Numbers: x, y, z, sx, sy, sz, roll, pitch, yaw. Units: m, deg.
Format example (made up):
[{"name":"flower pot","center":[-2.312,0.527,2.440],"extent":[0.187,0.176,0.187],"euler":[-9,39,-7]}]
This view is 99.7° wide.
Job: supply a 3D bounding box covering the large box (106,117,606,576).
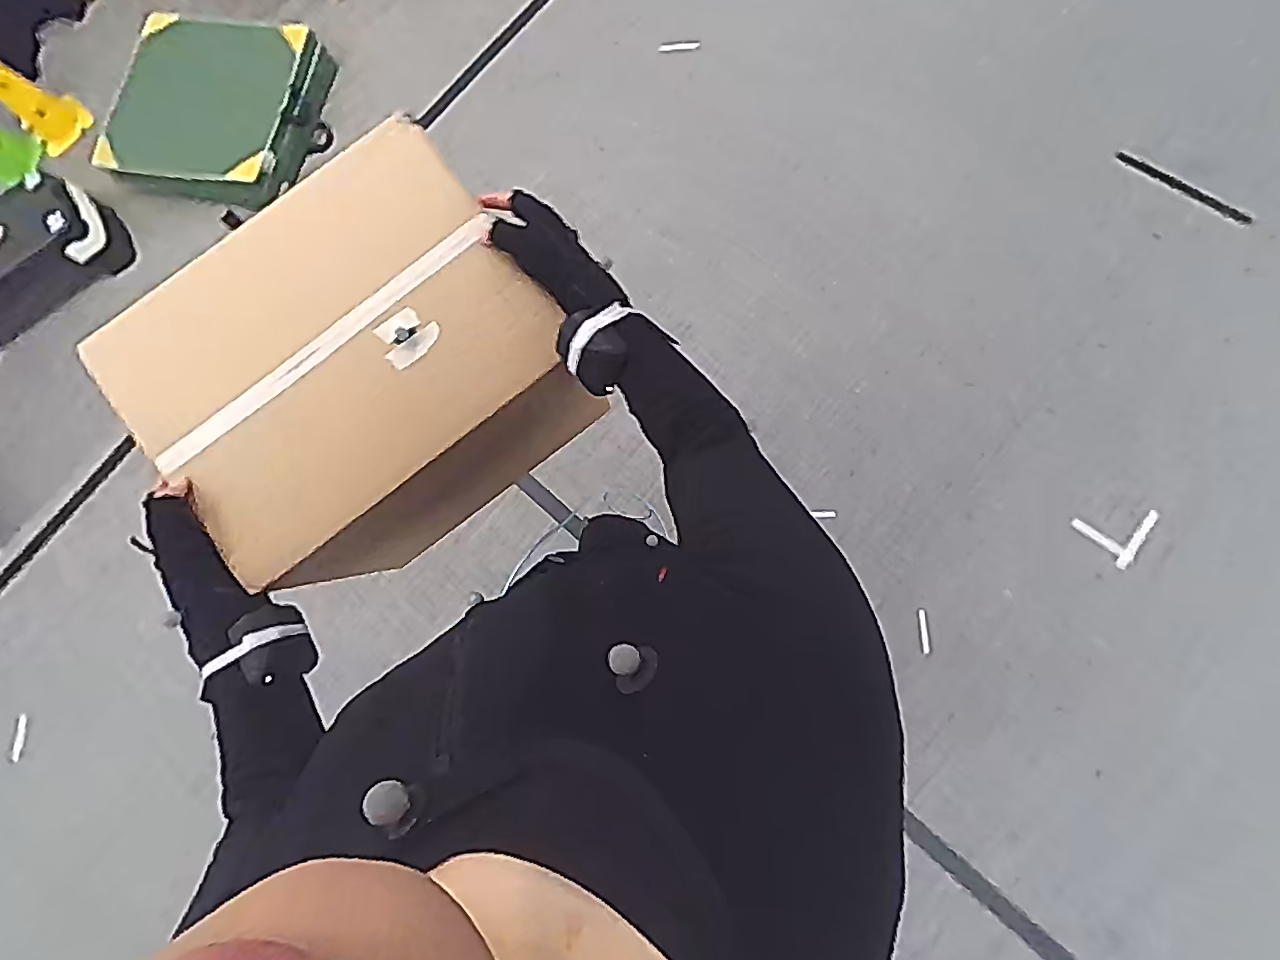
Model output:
[{"name":"large box","center":[-0.298,-0.129,0.694],"extent":[0.408,0.320,0.320],"euler":[-38,86,-3]}]
